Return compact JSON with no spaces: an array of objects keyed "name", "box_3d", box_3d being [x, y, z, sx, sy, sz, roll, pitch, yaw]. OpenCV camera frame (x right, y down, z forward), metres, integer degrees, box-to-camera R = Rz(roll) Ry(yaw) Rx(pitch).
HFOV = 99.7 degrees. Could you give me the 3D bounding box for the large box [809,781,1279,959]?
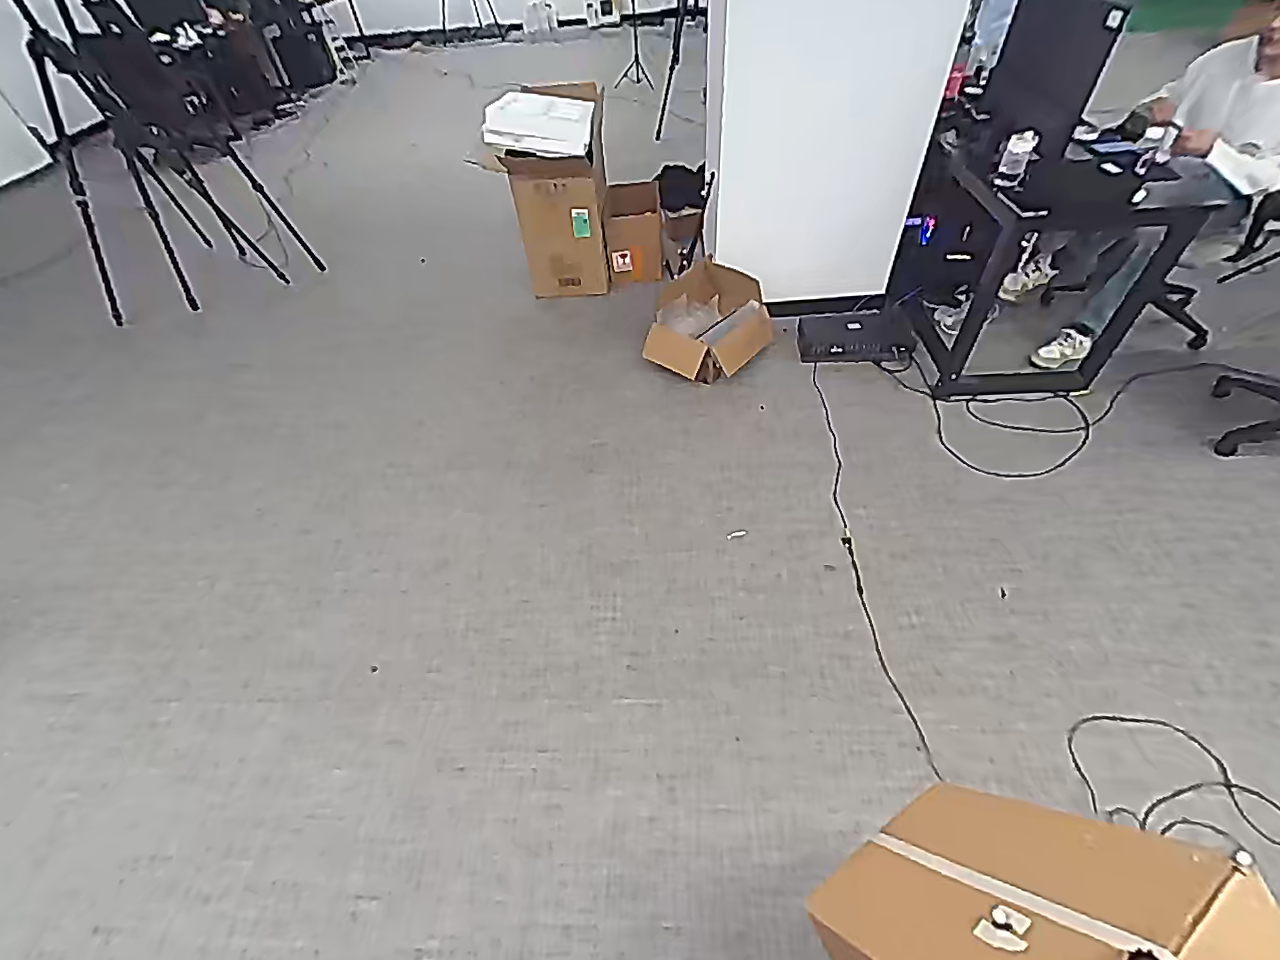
[{"name":"large box","box_3d":[0.494,0.629,0.645,0.320,0.408,0.320,-24,81,-22]}]
